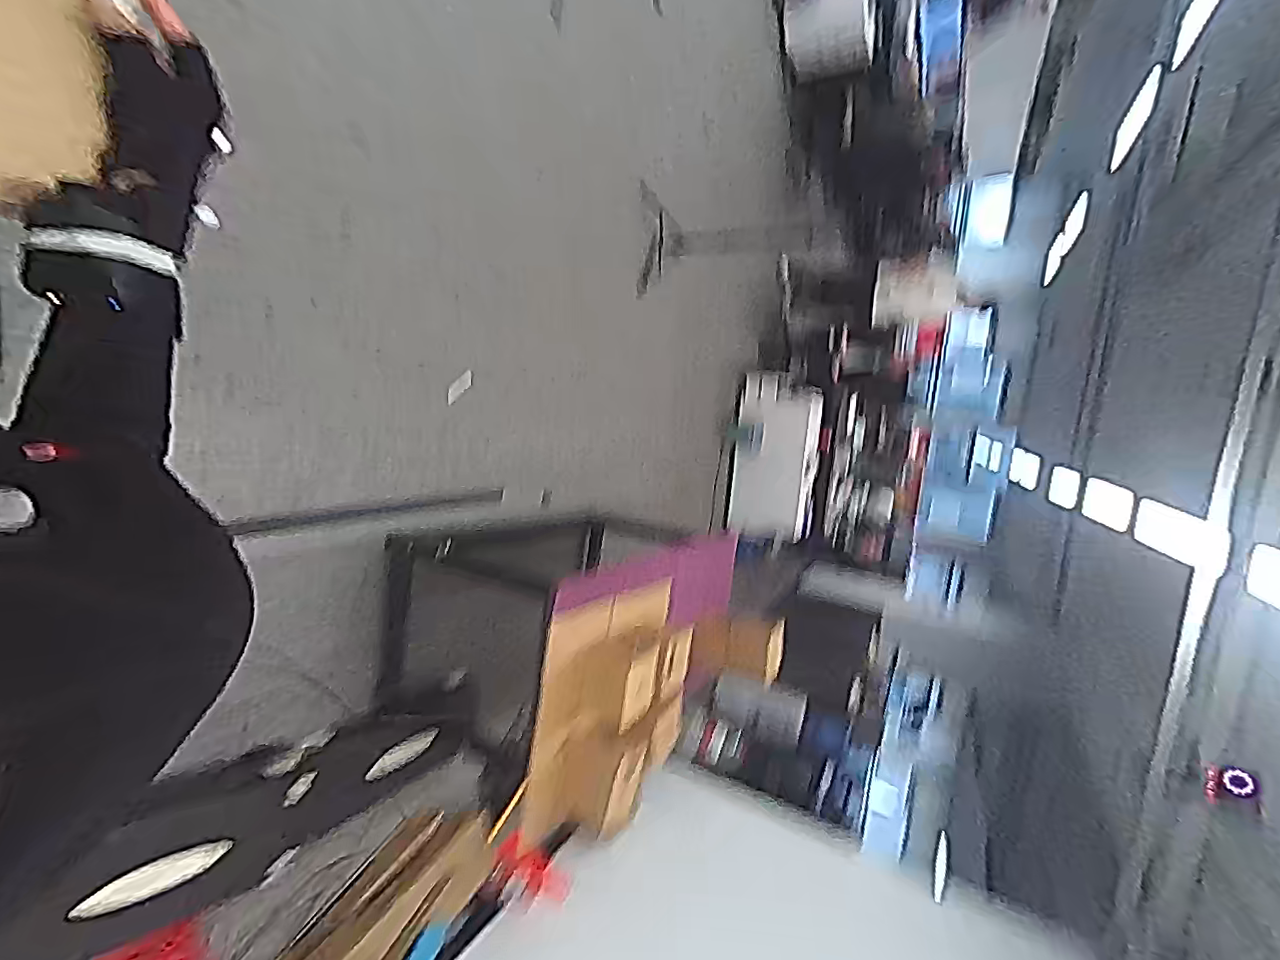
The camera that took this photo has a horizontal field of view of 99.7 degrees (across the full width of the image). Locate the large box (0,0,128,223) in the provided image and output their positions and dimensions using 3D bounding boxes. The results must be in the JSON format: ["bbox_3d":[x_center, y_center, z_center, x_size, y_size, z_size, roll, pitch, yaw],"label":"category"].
[{"bbox_3d":[-0.584,-0.377,0.269,0.408,0.320,0.320,4,103,-65],"label":"large box"}]
